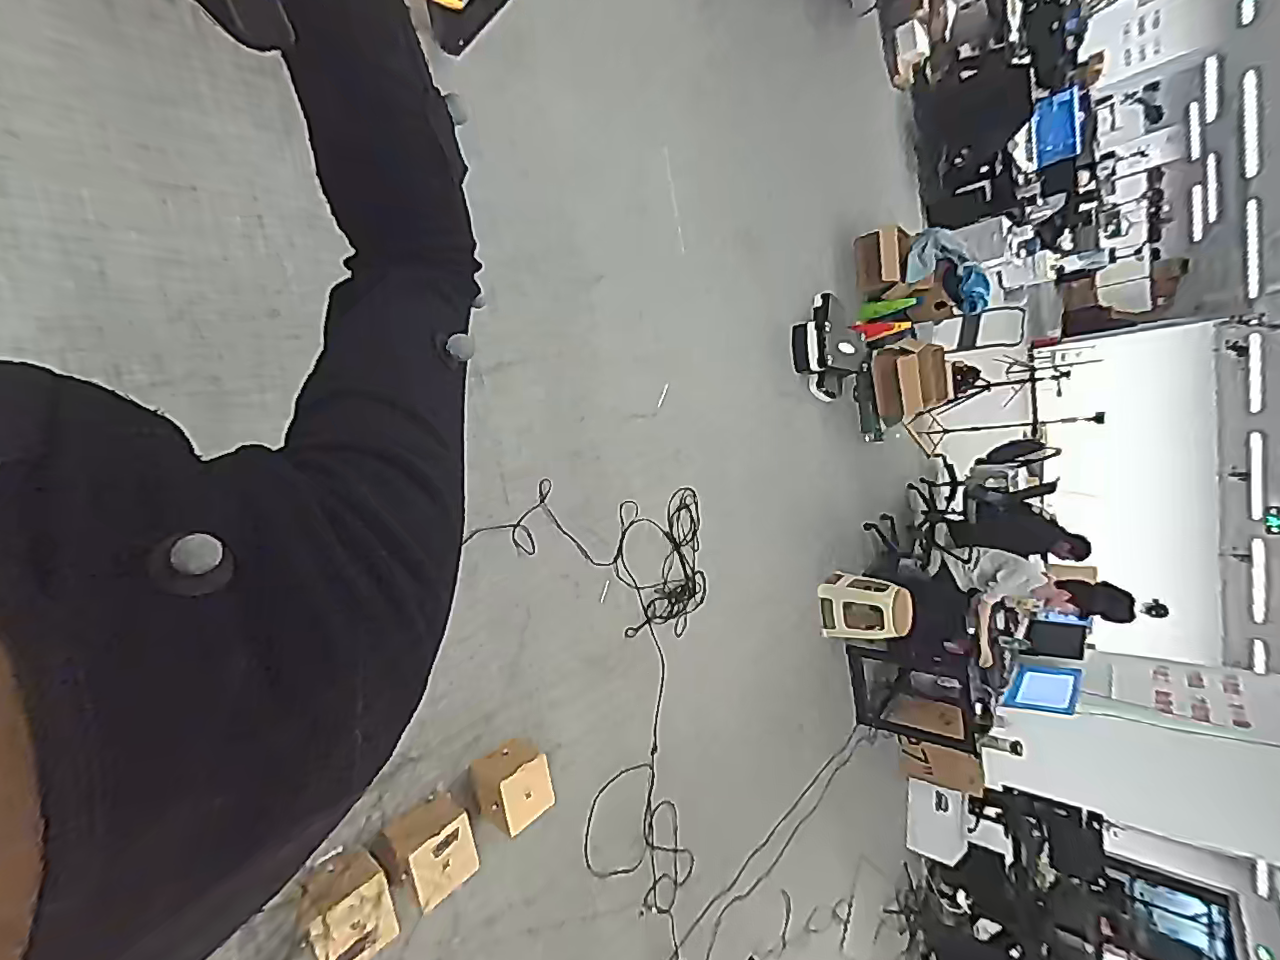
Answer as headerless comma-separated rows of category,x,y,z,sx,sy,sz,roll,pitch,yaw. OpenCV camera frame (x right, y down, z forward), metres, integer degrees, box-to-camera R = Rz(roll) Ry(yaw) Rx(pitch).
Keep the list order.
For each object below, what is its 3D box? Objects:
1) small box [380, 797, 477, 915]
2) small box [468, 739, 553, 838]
small box,-0.563,0.980,1.434,0.168,0.176,0.179,-19,103,-47
small box,-0.391,0.918,1.628,0.168,0.176,0.179,-18,101,-47
